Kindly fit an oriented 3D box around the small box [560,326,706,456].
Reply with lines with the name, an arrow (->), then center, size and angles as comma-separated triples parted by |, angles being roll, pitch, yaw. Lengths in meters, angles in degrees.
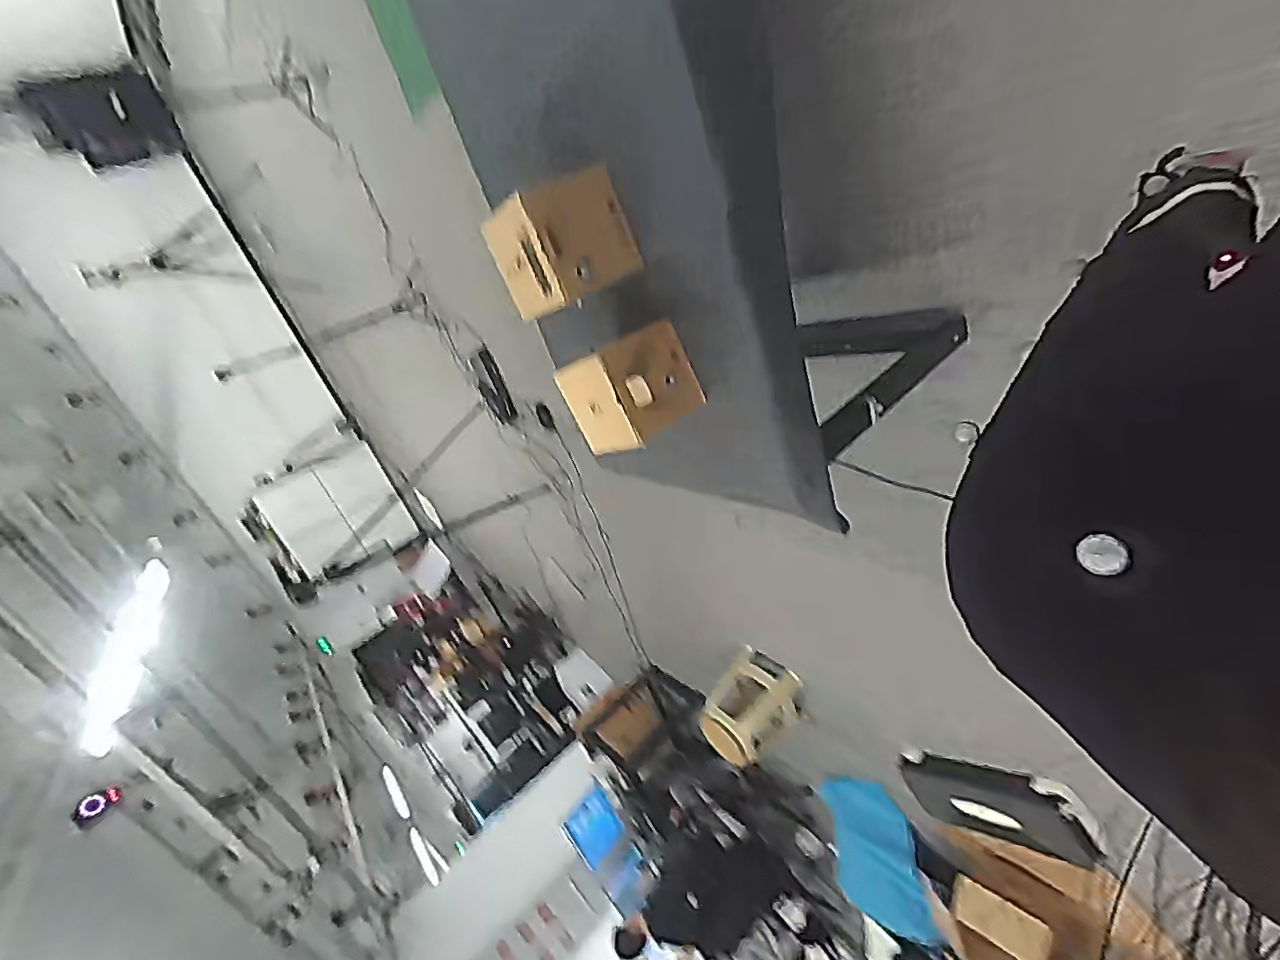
small box -> -0.012, -0.159, 0.986 | 0.179, 0.176, 0.168 | -5, 115, 58
